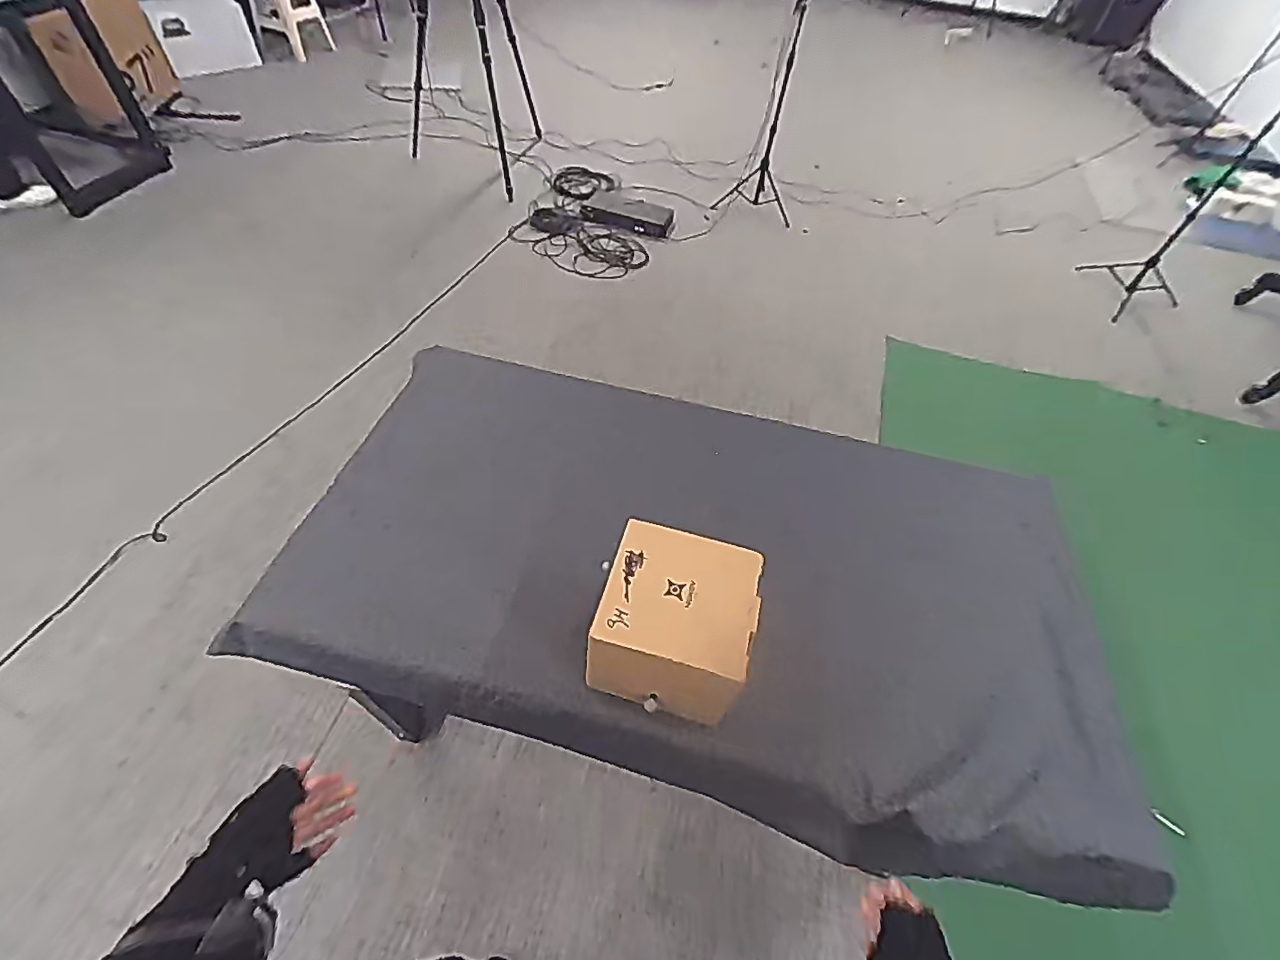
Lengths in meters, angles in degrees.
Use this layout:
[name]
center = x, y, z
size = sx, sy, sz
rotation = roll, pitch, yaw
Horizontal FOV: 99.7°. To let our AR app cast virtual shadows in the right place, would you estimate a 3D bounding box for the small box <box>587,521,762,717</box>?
[small box]
center = 0.039, 0.184, 0.693
size = 0.179, 0.176, 0.168
rotation = 15, 51, 5
